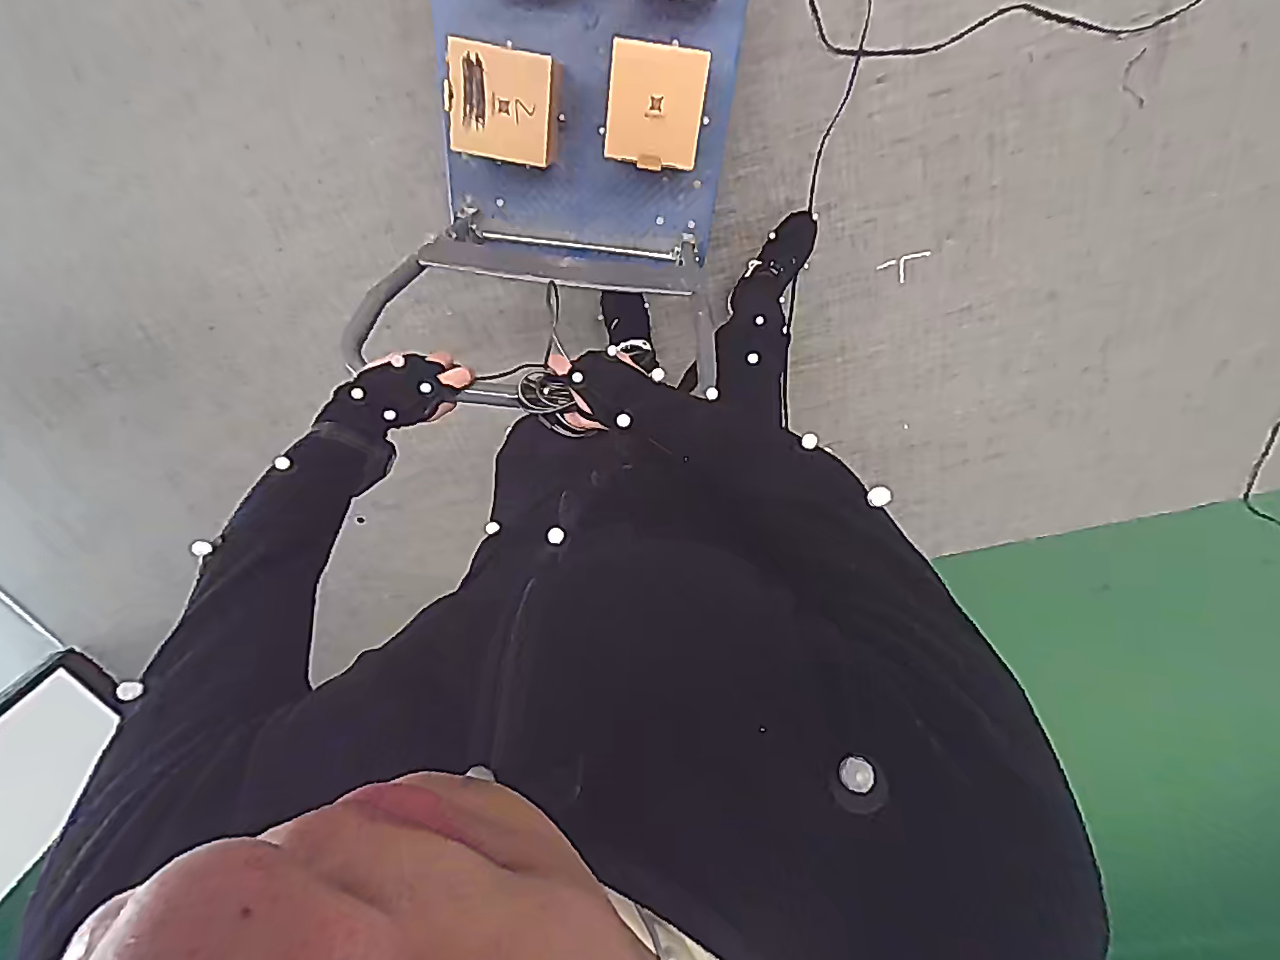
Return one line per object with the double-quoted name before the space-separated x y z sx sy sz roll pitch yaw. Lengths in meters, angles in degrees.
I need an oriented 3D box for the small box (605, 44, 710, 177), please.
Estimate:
"small box" 0.027 -0.684 1.009 0.168 0.176 0.179 7 124 -3
